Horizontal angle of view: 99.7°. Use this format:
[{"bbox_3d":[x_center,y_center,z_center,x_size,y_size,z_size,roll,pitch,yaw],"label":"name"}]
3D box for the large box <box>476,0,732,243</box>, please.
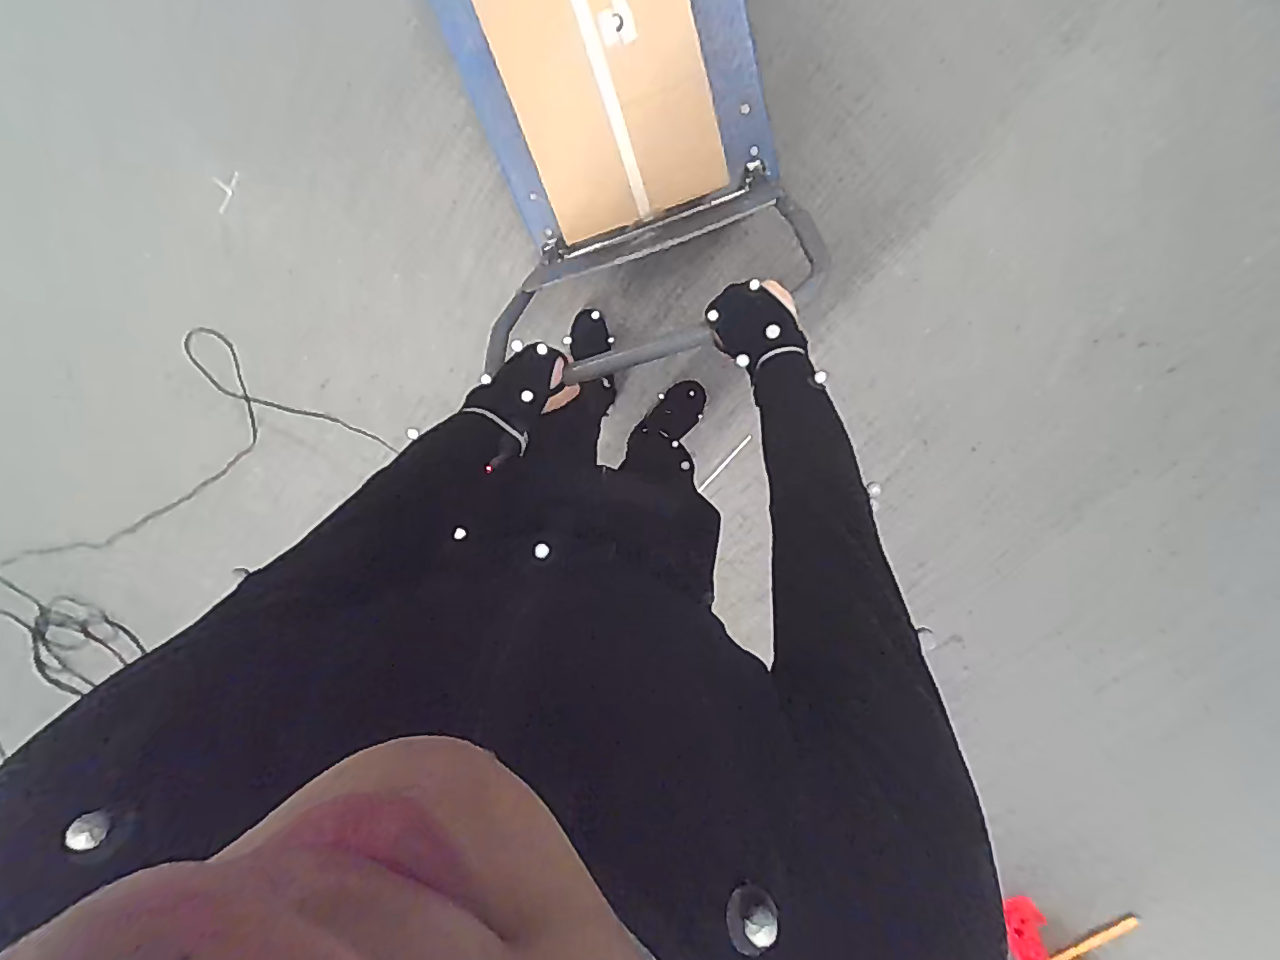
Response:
[{"bbox_3d":[-0.037,-0.712,0.996,0.320,0.320,0.408,-14,120,13],"label":"large box"}]
